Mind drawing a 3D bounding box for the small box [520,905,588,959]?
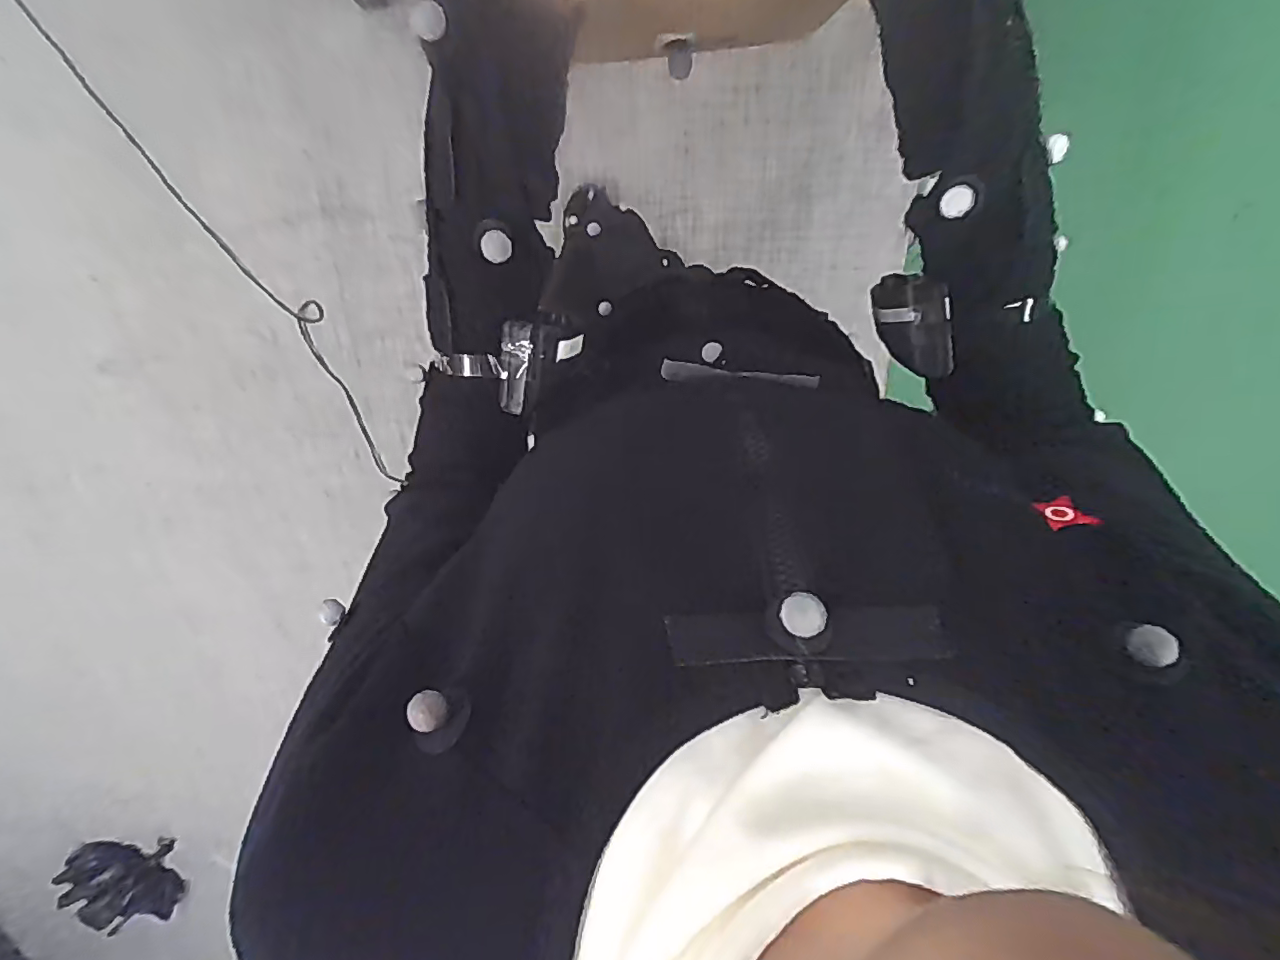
[{"bbox_3d":[-0.248,1.397,1.590,0.168,0.176,0.179,-9,116,1],"label":"small box"}]

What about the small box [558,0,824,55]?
[{"bbox_3d":[0.025,-0.341,0.258,0.168,0.176,0.179,-6,116,1],"label":"small box"}]
